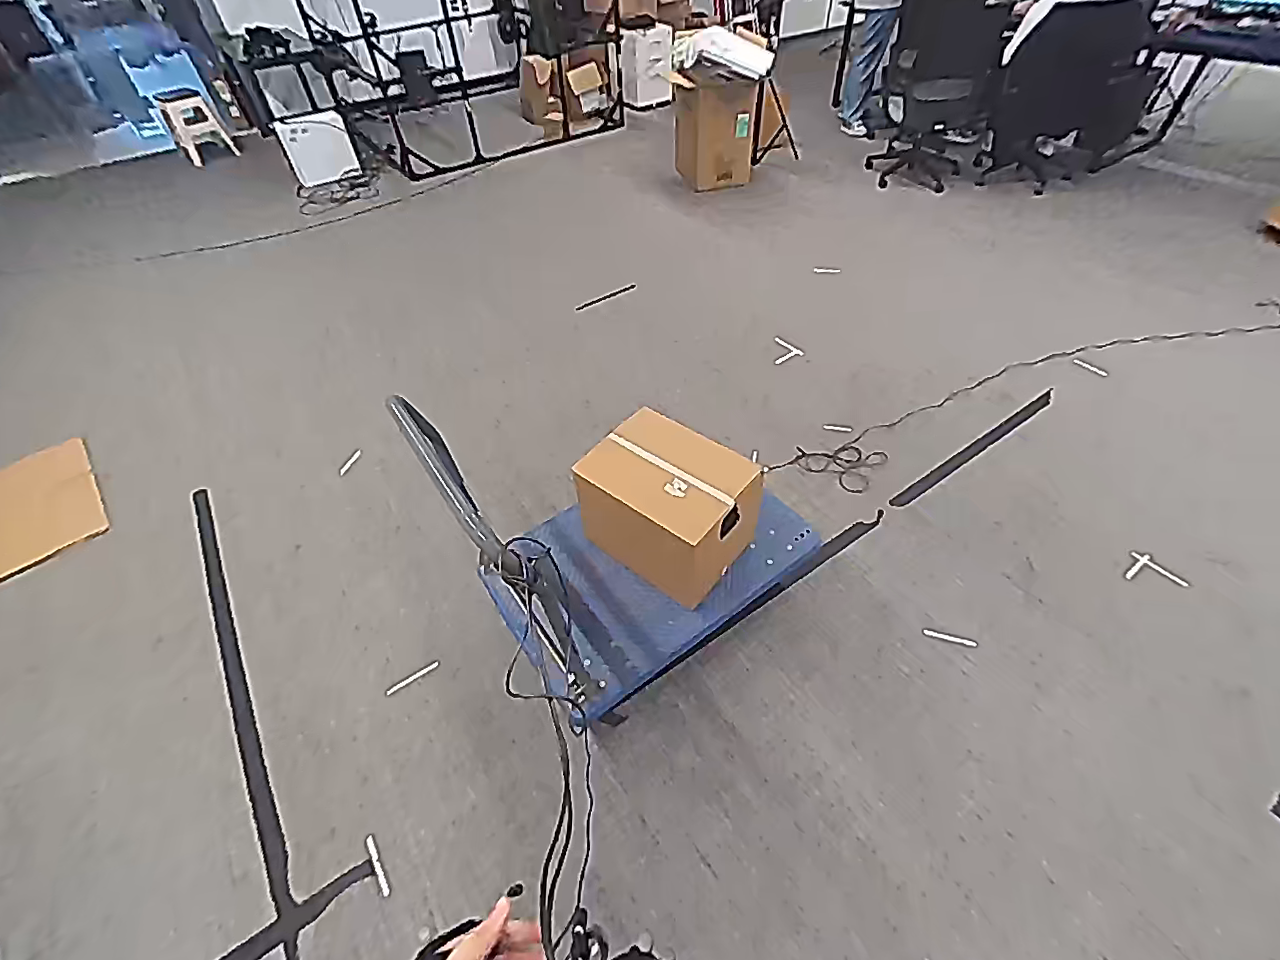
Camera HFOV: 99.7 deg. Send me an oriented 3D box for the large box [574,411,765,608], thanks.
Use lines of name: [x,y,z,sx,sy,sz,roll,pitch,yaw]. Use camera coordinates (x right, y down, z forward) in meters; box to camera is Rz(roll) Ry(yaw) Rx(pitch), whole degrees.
large box: [0.077,0.074,1.505,0.408,0.320,0.320,31,57,26]
